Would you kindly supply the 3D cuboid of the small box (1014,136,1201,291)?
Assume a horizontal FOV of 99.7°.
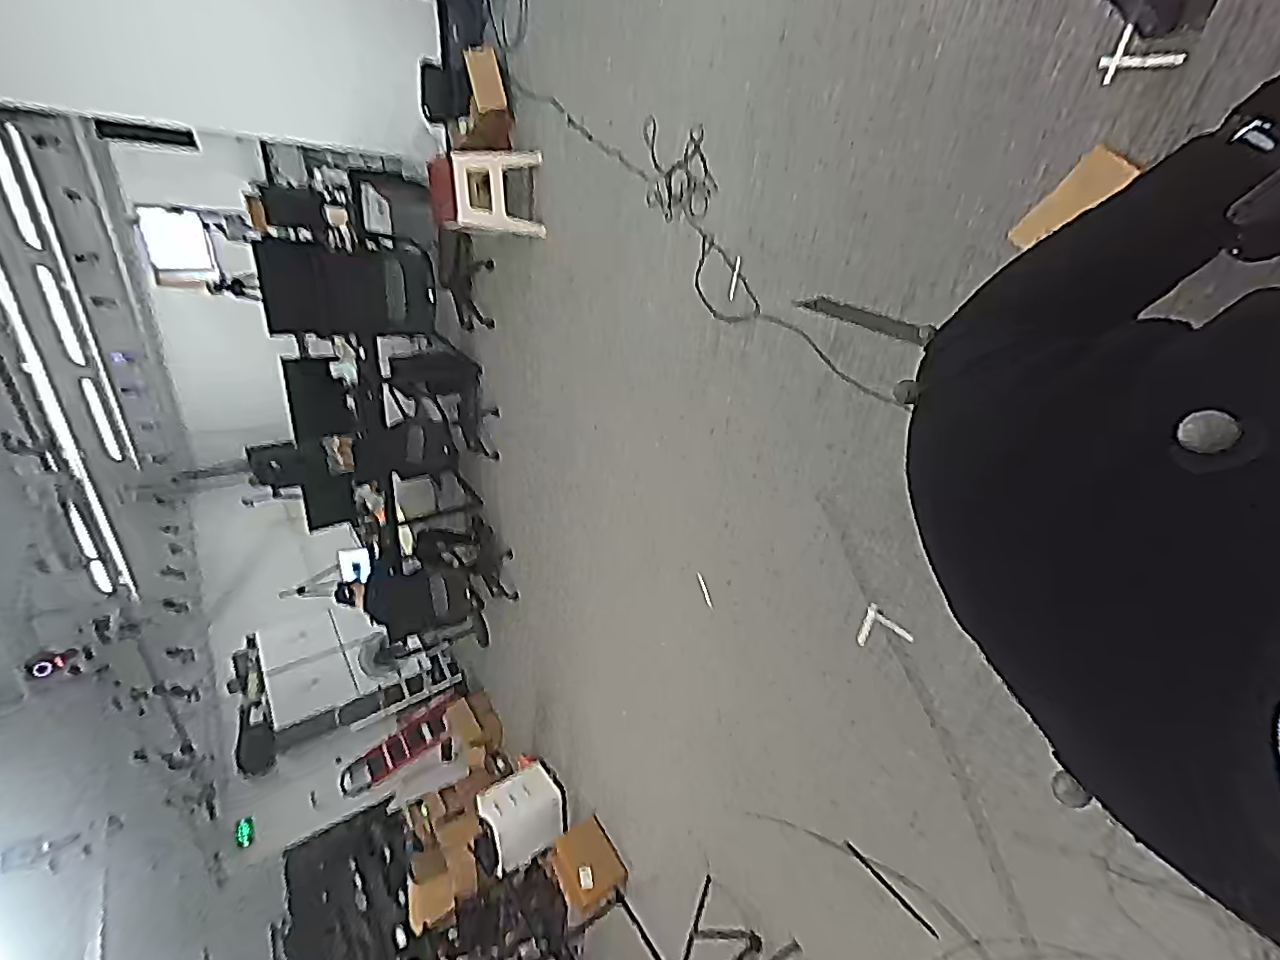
[{"bbox_3d":[0.816,-0.457,0.943,0.168,0.176,0.179,59,143,20],"label":"small box"}]
